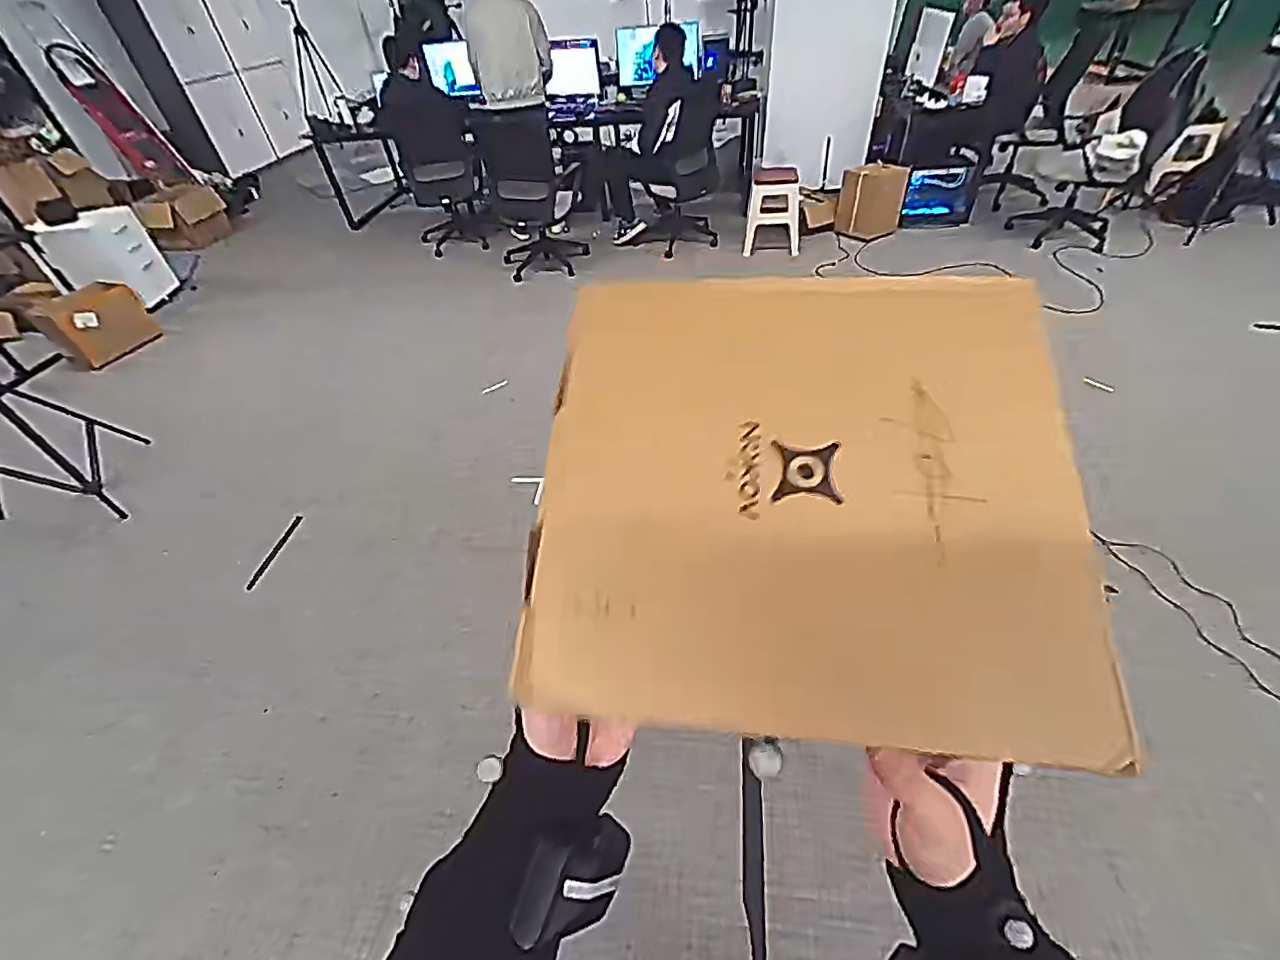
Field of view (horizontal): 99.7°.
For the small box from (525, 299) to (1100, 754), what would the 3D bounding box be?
[{"bbox_3d":[0.061,0.035,0.270,0.179,0.176,0.168,-1,68,7],"label":"small box"}]
